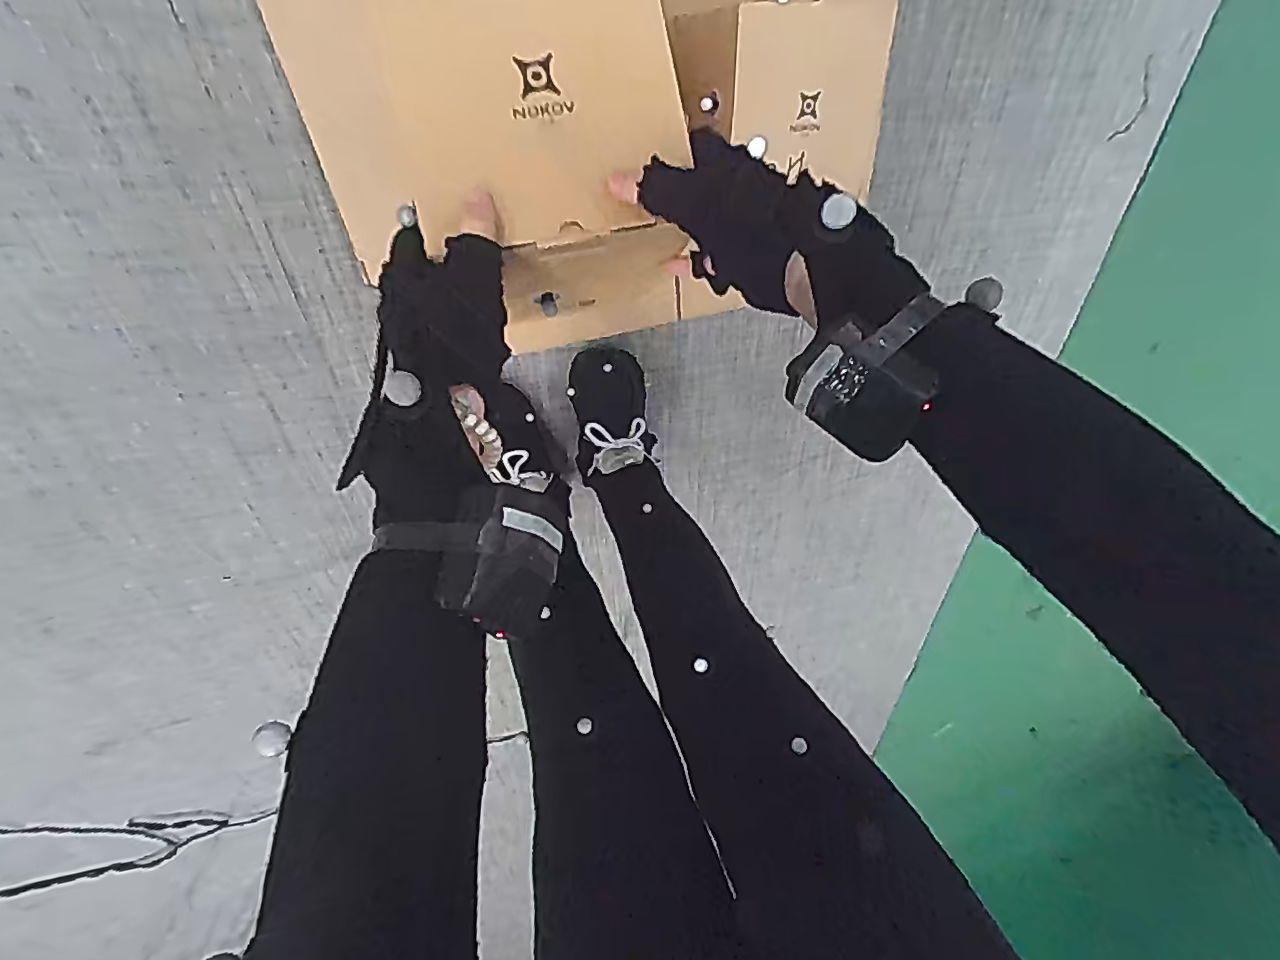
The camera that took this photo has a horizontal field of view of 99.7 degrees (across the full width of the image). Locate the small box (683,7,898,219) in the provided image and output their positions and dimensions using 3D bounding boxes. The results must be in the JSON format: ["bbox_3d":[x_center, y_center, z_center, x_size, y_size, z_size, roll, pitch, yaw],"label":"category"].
[{"bbox_3d":[0.148,-0.409,0.610,0.168,0.176,0.179,-10,129,-12],"label":"small box"}]

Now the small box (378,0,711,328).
[{"bbox_3d":[-0.068,-0.225,0.385,0.168,0.176,0.179,-14,96,-10],"label":"small box"}]
